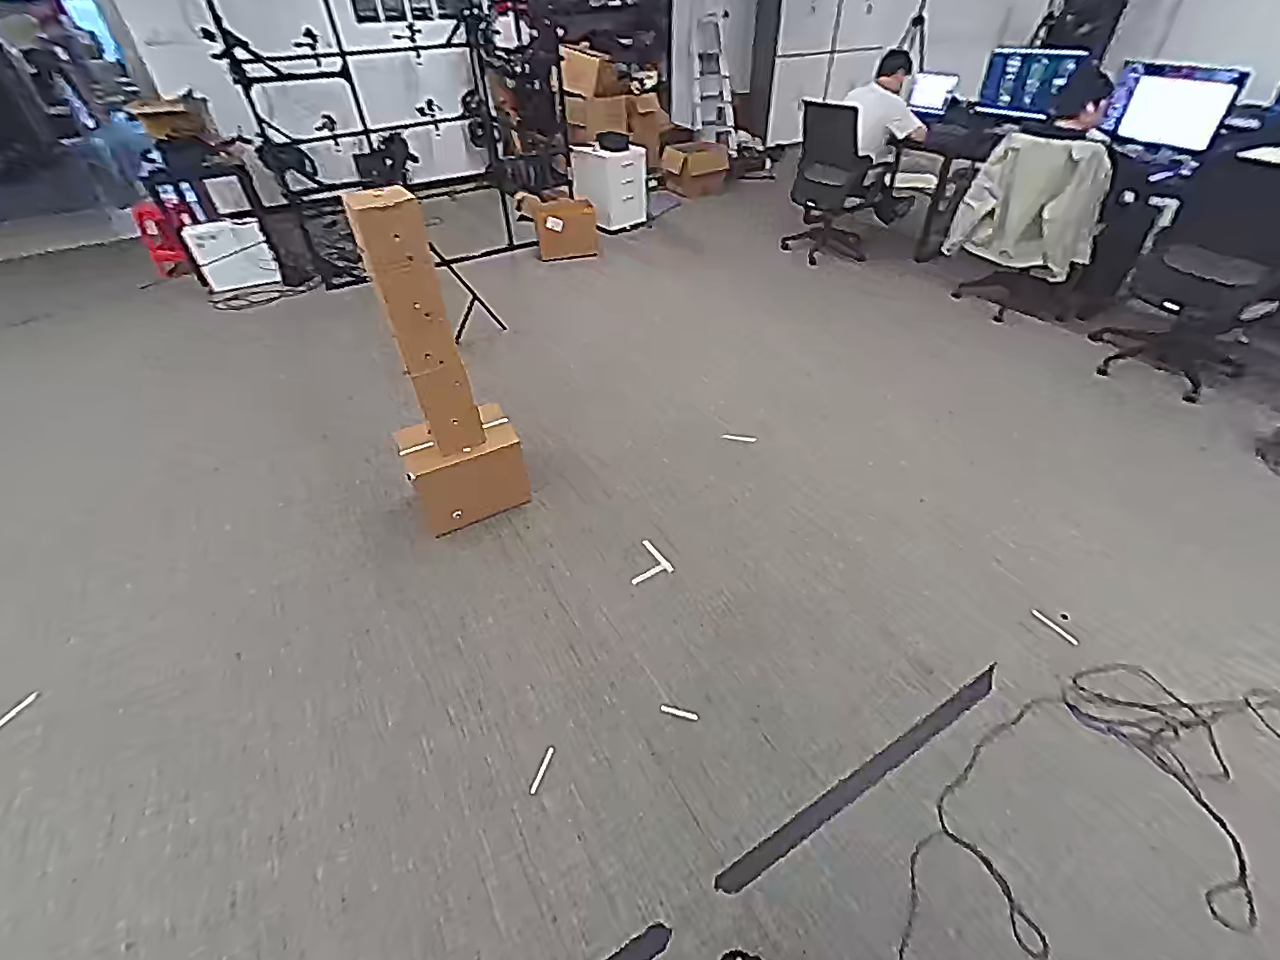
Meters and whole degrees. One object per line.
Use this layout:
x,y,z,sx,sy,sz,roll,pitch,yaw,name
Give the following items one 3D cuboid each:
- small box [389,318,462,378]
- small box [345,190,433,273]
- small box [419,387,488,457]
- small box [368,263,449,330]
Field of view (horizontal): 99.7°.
-0.697,-0.455,1.755,0.168,0.176,0.179,-23,47,-22,small box
-0.710,-0.704,1.541,0.168,0.176,0.179,-24,48,-23,small box
-0.675,-0.208,1.968,0.179,0.176,0.168,-23,47,-23,small box
-0.704,-0.579,1.647,0.168,0.176,0.179,-24,47,-22,small box
